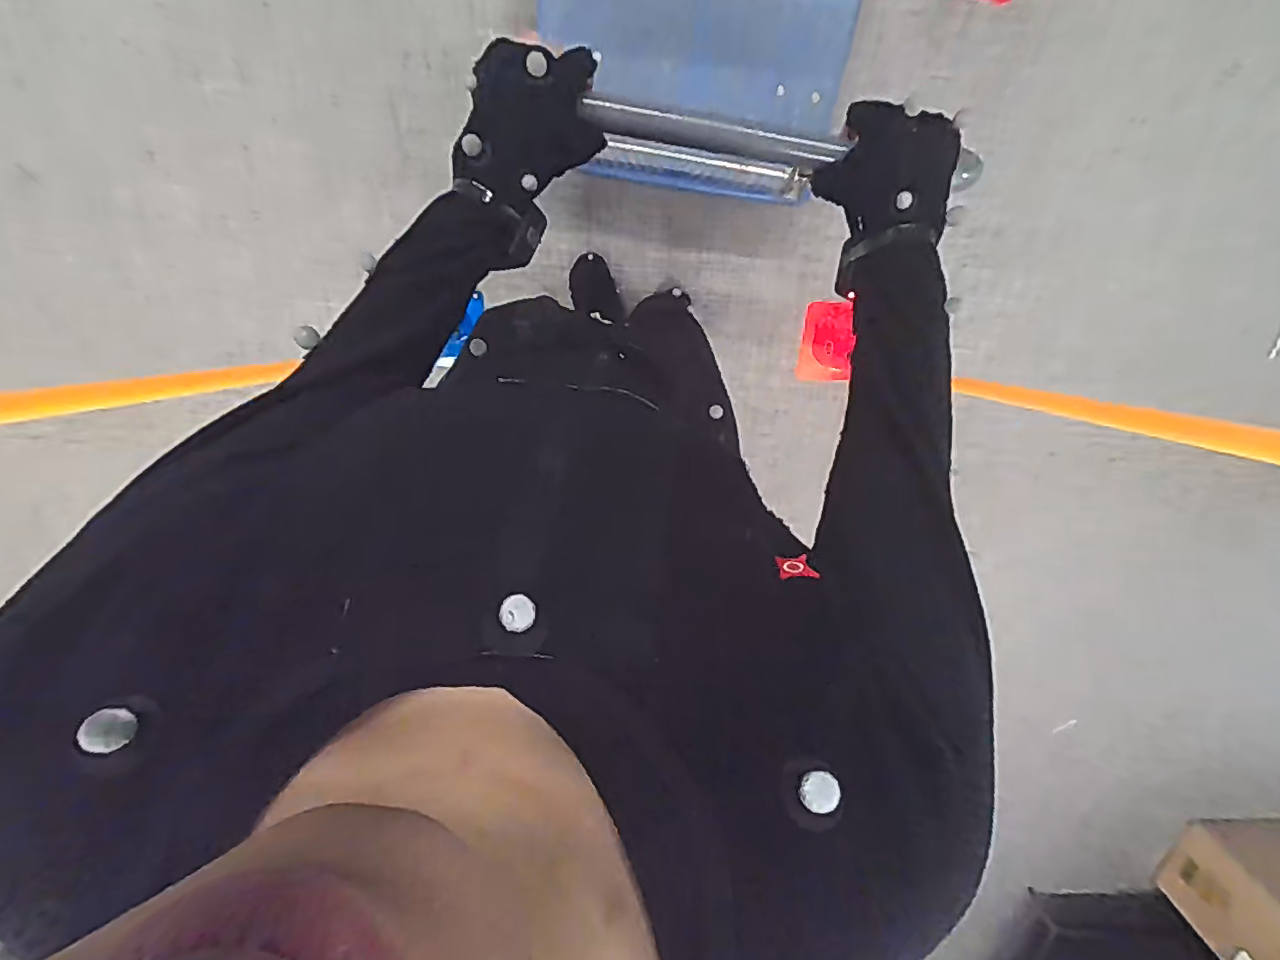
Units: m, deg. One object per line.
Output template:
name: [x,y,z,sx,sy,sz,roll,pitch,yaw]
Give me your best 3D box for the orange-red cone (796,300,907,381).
orange-red cone: [0.518,-0.294,1.253,0.199,0.360,0.198,3,113,-2]
